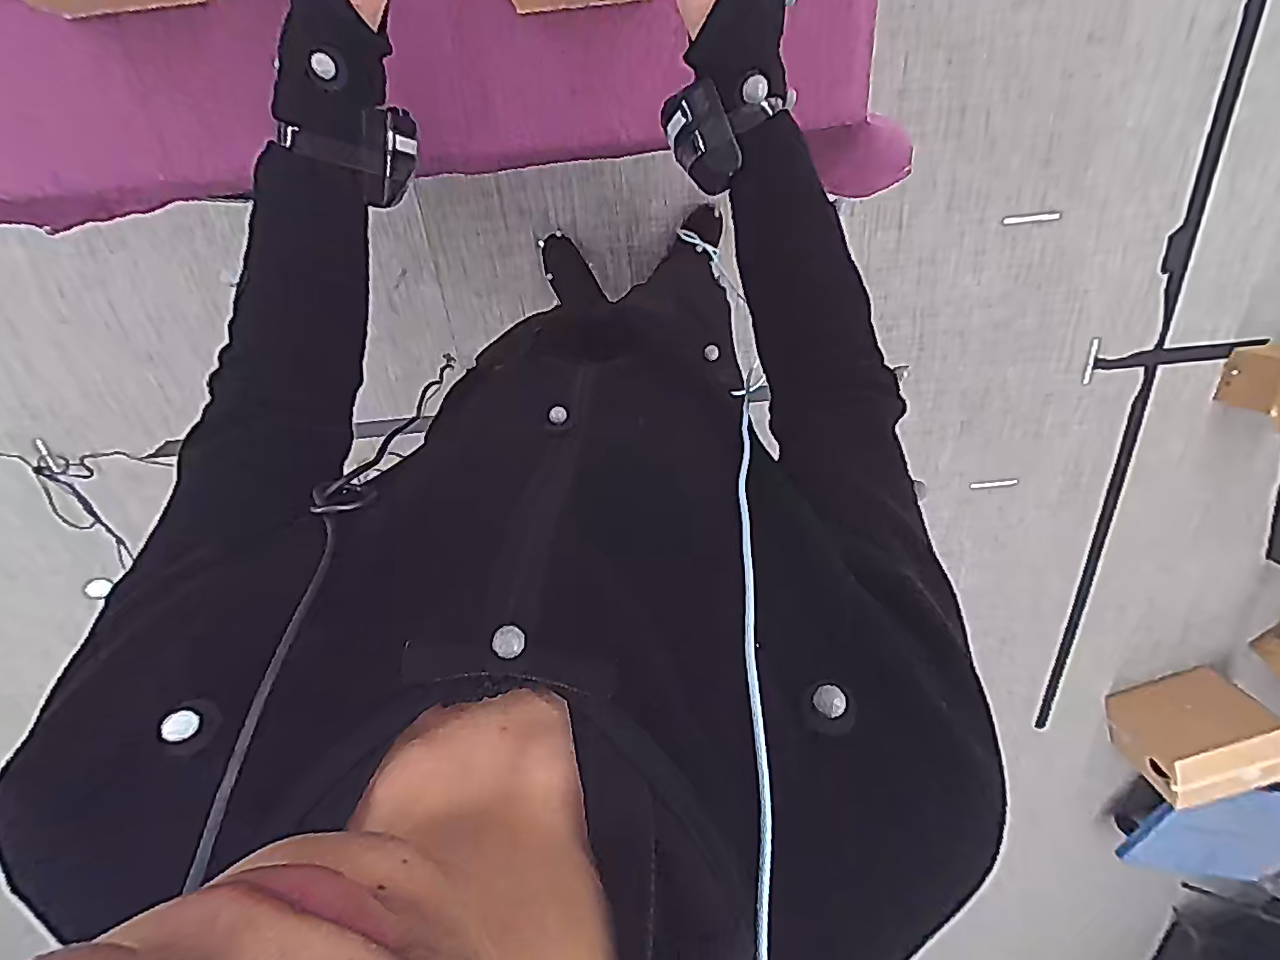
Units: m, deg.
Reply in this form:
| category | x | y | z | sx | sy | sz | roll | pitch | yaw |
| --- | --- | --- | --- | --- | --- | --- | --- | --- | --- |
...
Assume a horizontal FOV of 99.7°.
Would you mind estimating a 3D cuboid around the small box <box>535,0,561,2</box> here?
| category | x | y | z | sx | sy | sz | roll | pitch | yaw |
| --- | --- | --- | --- | --- | --- | --- | --- | --- | --- |
| small box | -0.066 | -0.609 | 0.534 | 0.168 | 0.176 | 0.179 | -6 | 116 | 0 |
